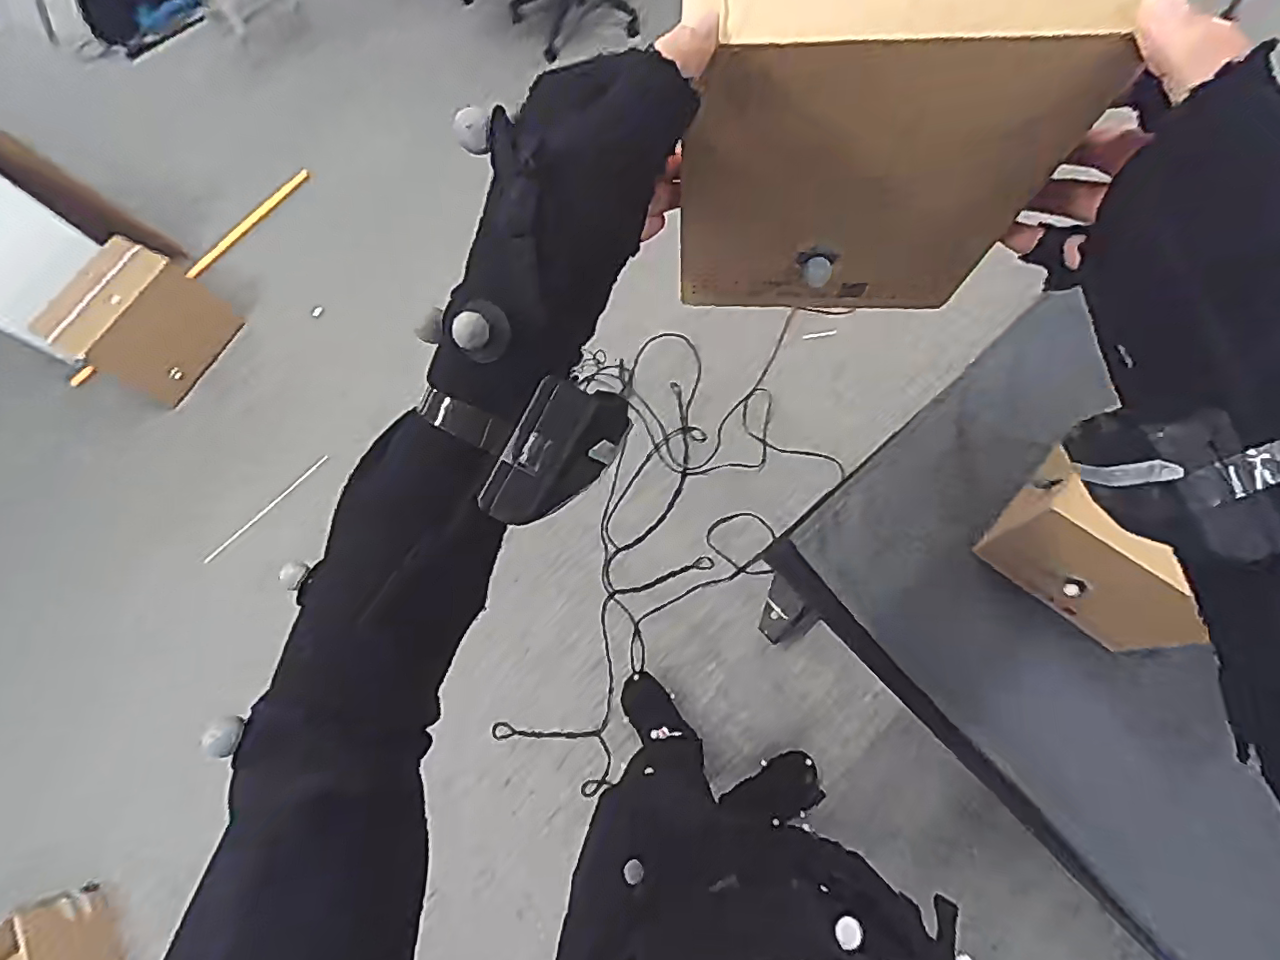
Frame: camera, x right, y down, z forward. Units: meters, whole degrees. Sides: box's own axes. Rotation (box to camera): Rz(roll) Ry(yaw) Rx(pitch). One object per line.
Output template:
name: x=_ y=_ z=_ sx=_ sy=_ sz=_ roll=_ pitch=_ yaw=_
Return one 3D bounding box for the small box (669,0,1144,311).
small box: x=0.101 y=-0.215 z=0.290 sx=0.168 sy=0.176 sz=0.179 roll=2 pitch=75 yaw=5

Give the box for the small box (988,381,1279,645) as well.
small box: x=0.491 y=0.044 z=0.540 sx=0.168 sy=0.176 sz=0.179 roll=41 pitch=79 yaw=20
